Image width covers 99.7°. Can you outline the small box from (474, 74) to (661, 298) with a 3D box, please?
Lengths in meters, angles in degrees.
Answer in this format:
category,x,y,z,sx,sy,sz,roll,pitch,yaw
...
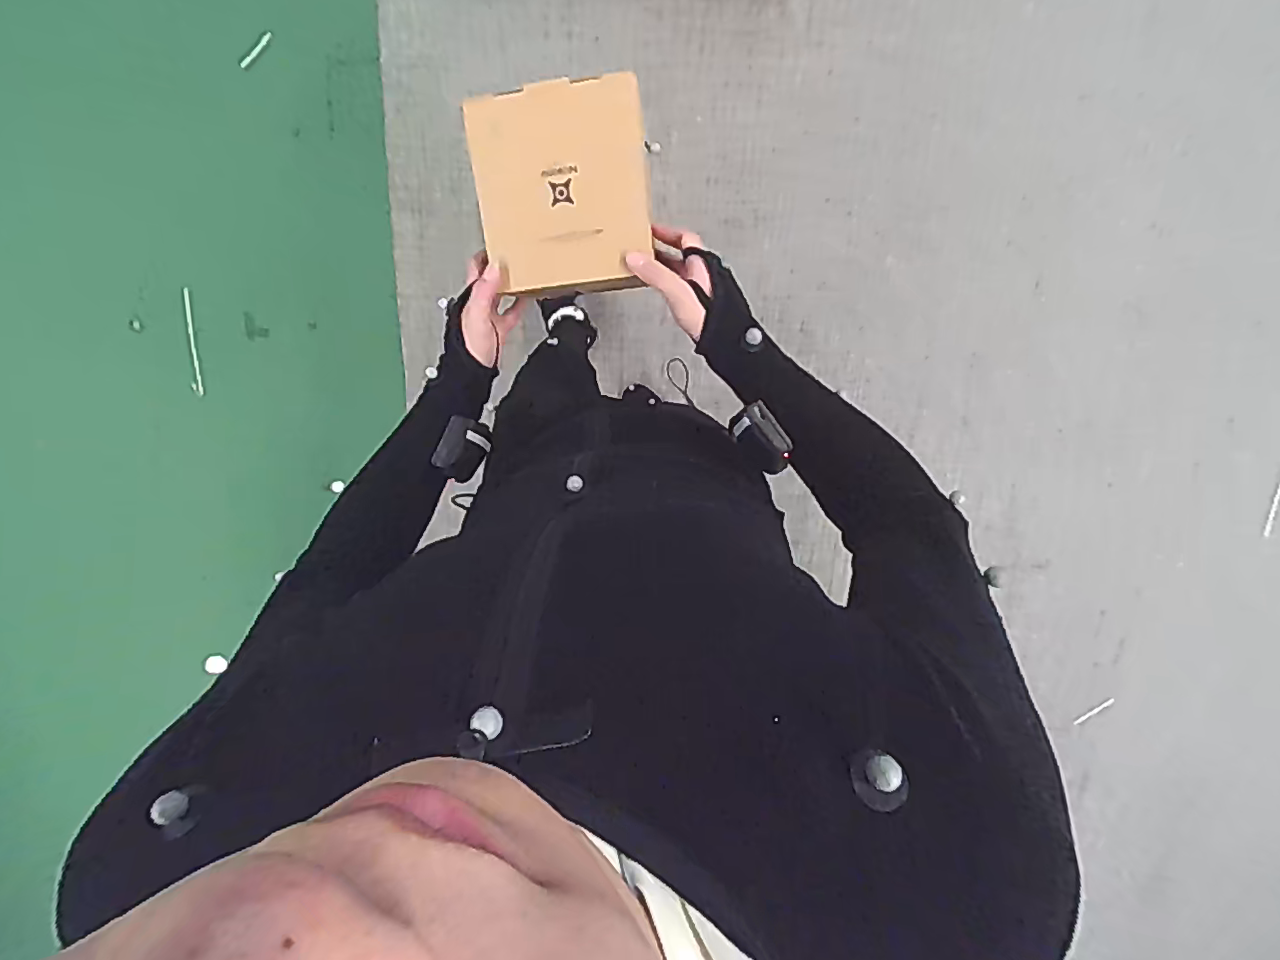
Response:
category,x,y,z,sx,sy,sz,roll,pitch,yaw
small box,-0.064,-0.301,0.592,0.168,0.176,0.179,-4,106,5
